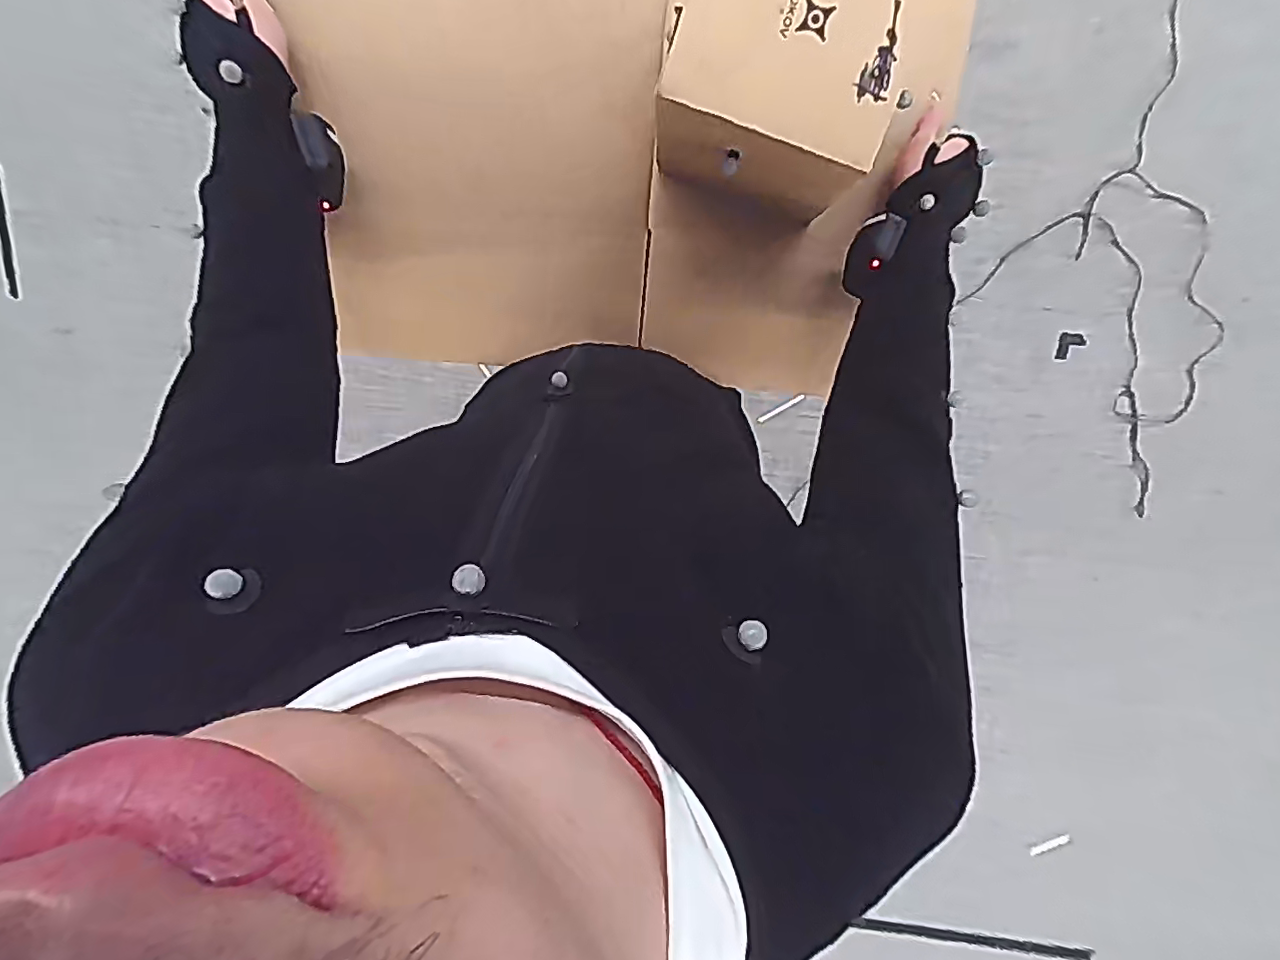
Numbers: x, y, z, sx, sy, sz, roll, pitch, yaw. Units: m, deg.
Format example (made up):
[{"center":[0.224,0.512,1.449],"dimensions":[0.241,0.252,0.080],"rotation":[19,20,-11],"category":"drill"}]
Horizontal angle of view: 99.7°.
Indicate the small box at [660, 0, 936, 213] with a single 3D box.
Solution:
[{"center":[0.126,-0.360,0.476],"dimensions":[0.179,0.176,0.168],"rotation":[19,104,-2],"category":"small box"}]
